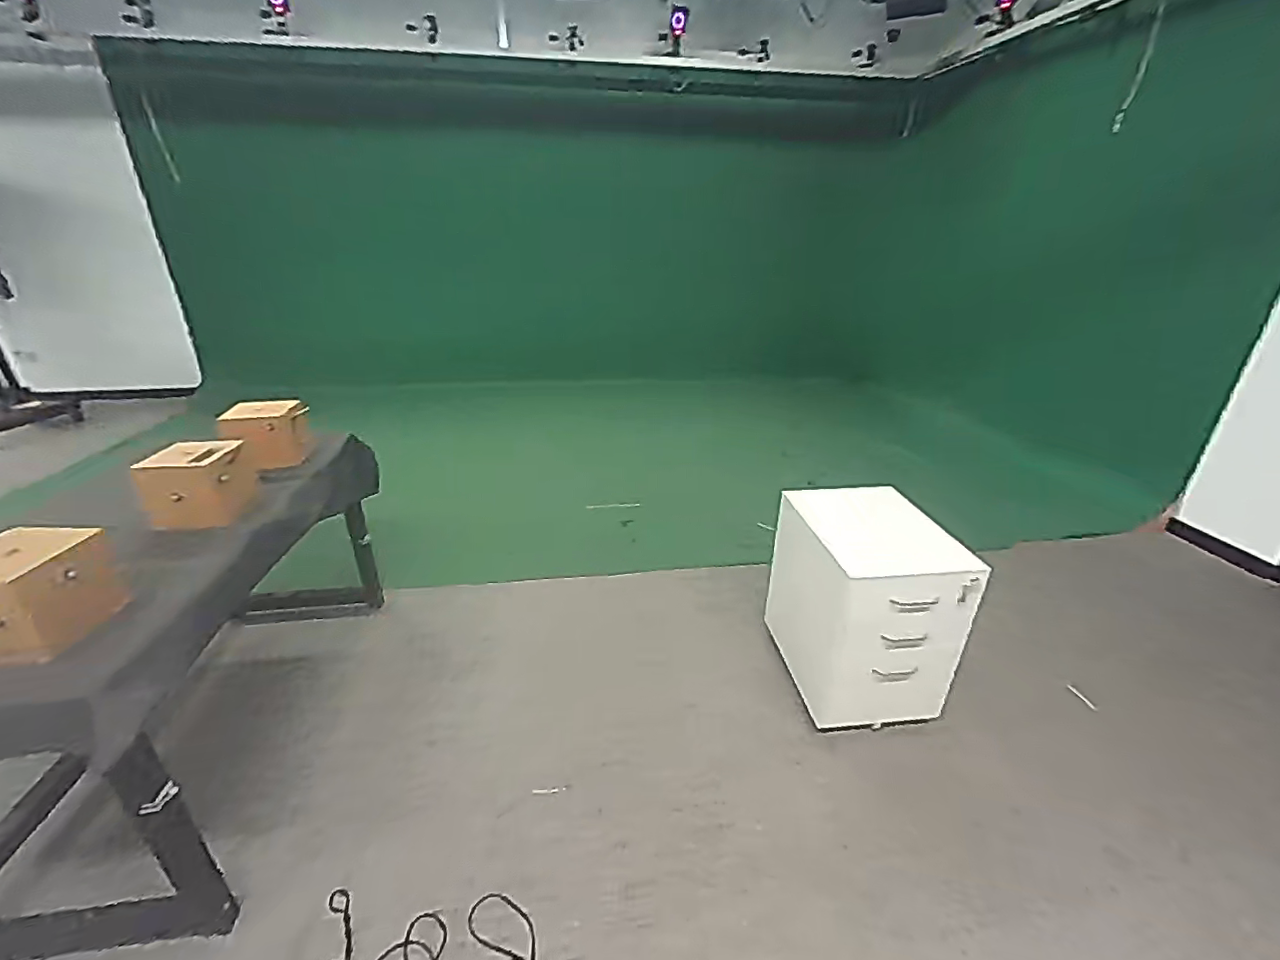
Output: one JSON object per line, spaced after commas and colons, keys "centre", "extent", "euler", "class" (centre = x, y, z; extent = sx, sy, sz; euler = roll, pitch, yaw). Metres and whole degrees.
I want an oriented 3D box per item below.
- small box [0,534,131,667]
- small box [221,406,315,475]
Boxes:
{"centre": [-1.071, 0.211, 0.957], "extent": [0.168, 0.176, 0.179], "euler": [1, 23, -1], "class": "small box"}
{"centre": [-1.148, -0.122, 1.683], "extent": [0.179, 0.176, 0.168], "euler": [-5, 25, -12], "class": "small box"}
